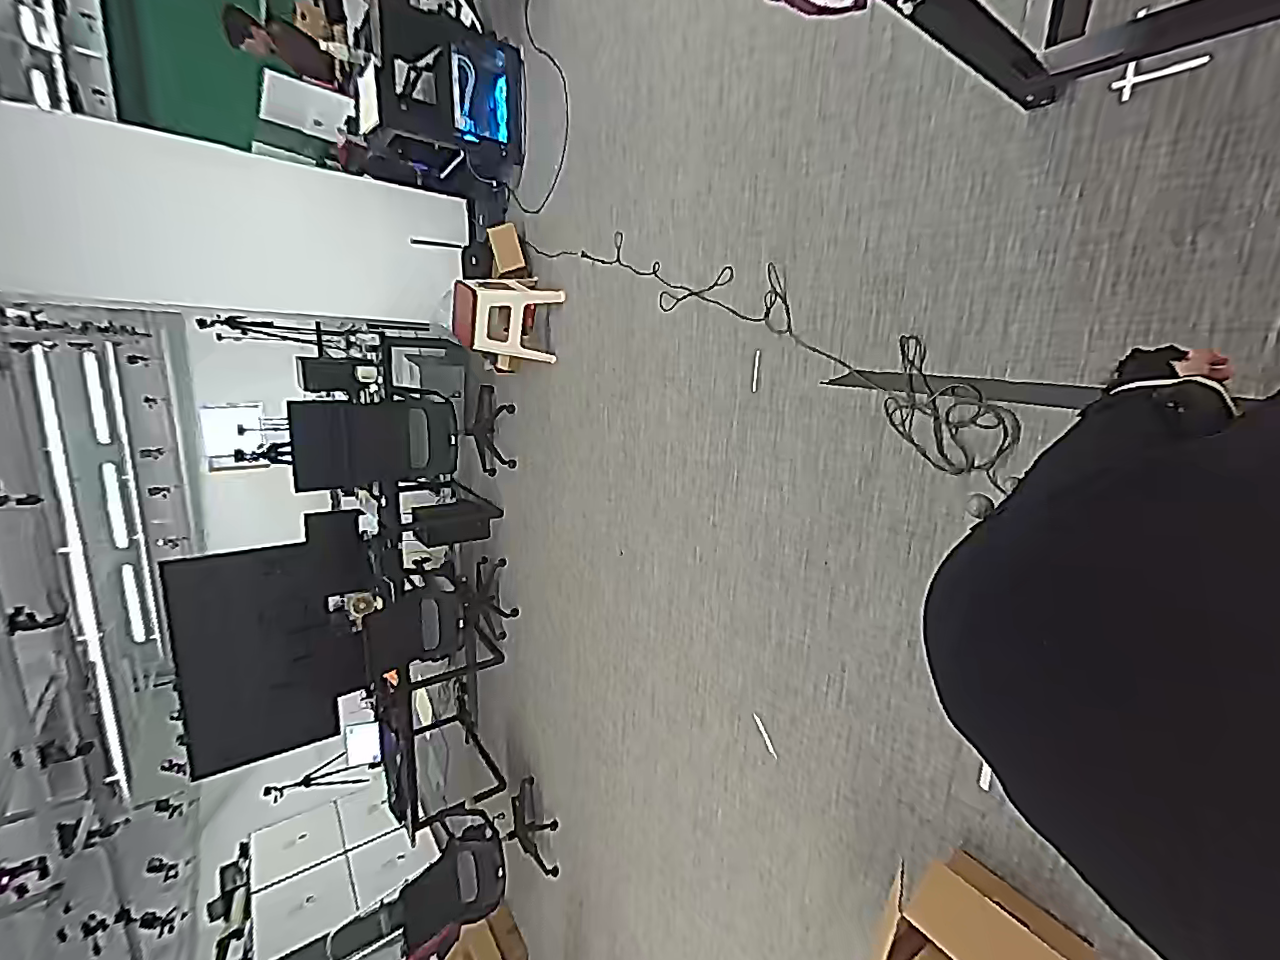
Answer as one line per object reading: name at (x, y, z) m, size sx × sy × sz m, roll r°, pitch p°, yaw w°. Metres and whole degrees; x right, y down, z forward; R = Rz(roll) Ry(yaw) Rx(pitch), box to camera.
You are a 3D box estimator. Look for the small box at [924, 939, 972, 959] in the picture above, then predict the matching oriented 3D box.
small box at (0.714, 1.219, 1.233) m, size 0.168 × 0.176 × 0.179 m, roll 31°, pitch 121°, yaw 51°
